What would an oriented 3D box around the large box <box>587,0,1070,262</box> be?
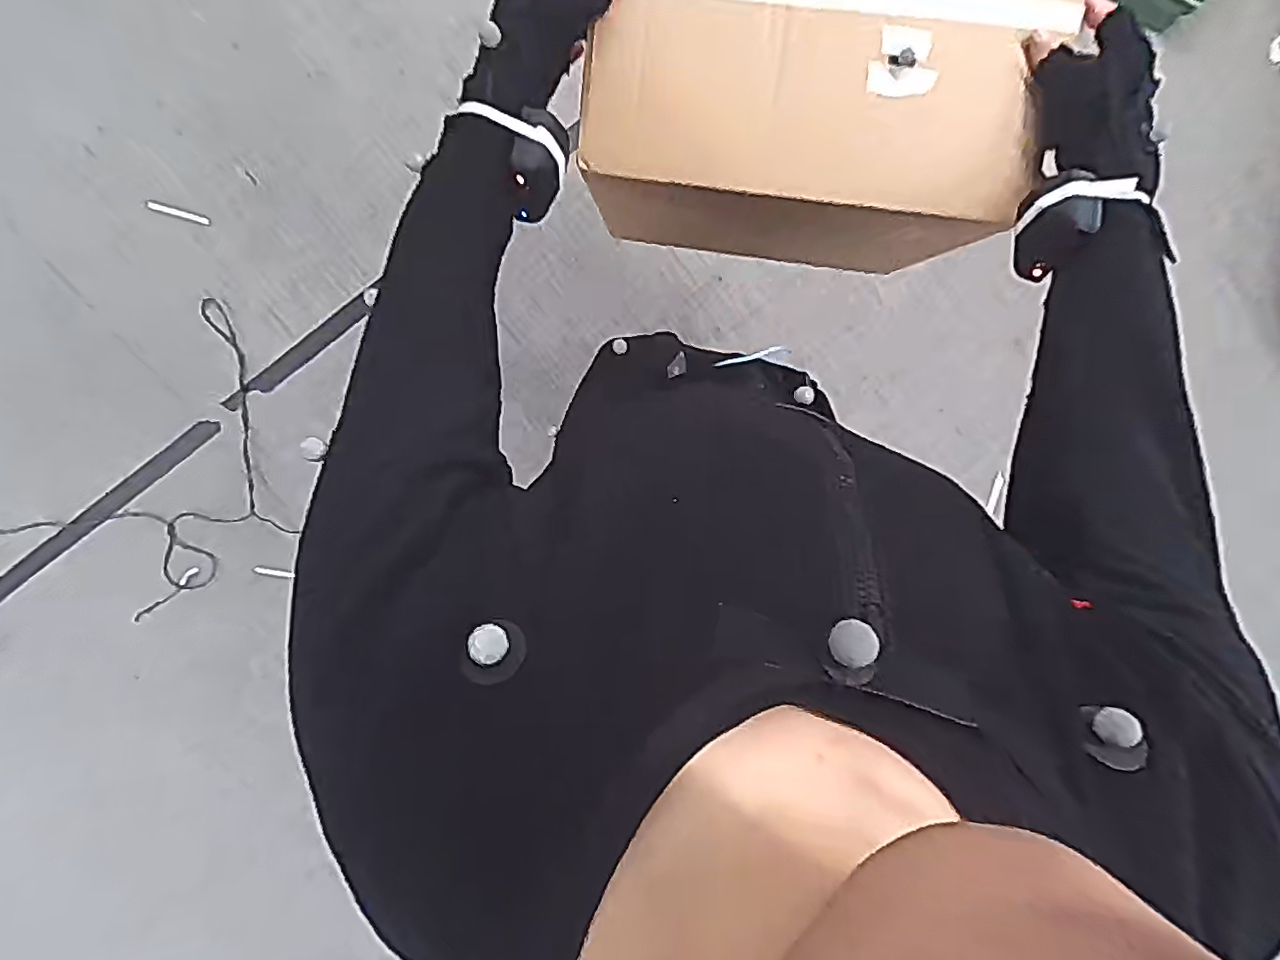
[{"bbox_3d":[0.167,-0.449,0.605,0.408,0.320,0.320,8,105,0],"label":"large box"}]
